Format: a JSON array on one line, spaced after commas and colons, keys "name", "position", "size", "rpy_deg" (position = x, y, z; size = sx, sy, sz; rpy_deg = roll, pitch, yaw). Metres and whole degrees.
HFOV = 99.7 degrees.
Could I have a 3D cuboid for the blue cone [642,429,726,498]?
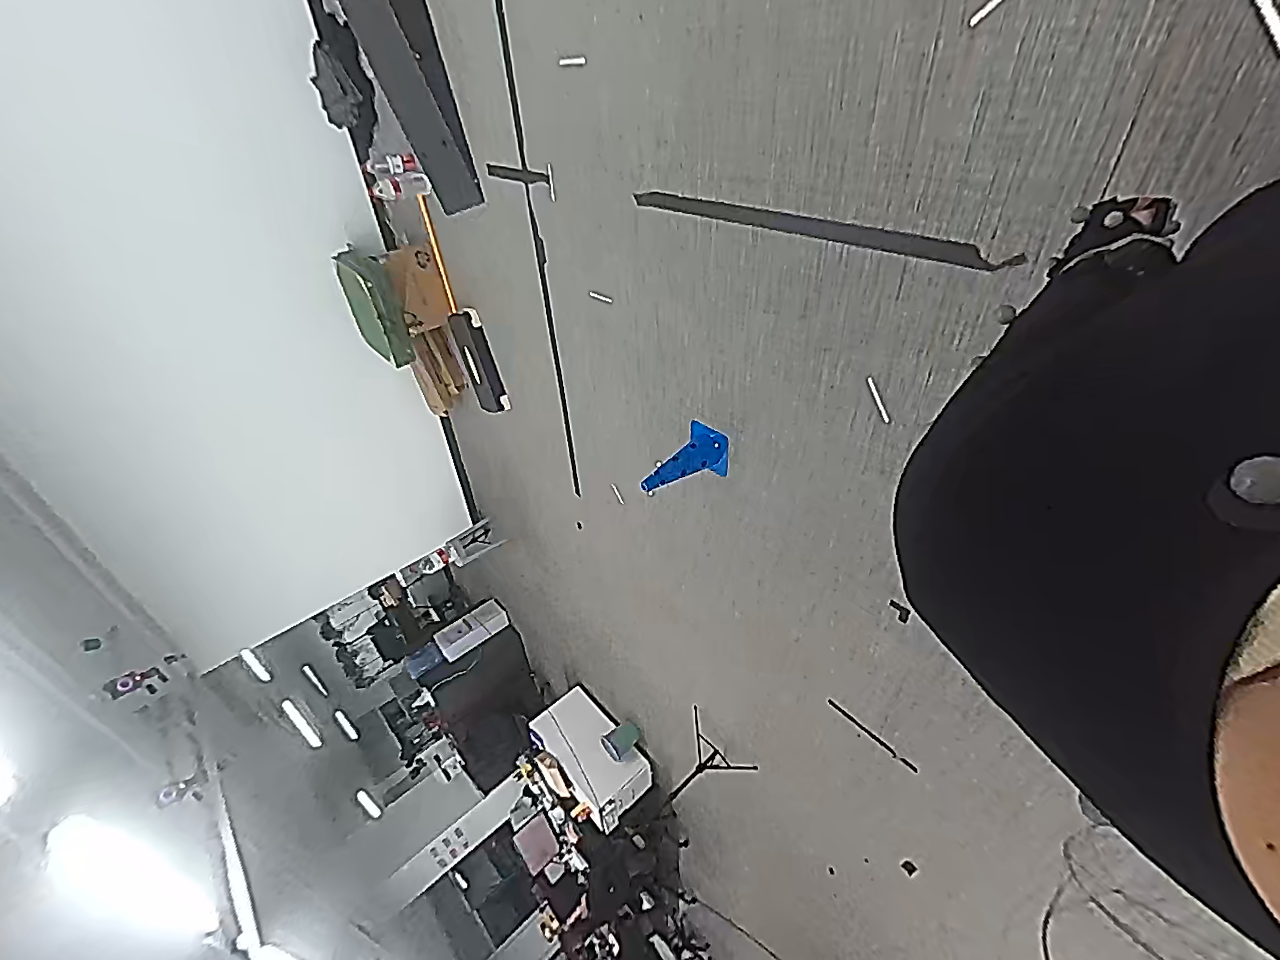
[{"name": "blue cone", "position": [0.155, -0.036, 2.112], "size": [0.193, 0.380, 0.192], "rpy_deg": [34, 142, 38]}]
